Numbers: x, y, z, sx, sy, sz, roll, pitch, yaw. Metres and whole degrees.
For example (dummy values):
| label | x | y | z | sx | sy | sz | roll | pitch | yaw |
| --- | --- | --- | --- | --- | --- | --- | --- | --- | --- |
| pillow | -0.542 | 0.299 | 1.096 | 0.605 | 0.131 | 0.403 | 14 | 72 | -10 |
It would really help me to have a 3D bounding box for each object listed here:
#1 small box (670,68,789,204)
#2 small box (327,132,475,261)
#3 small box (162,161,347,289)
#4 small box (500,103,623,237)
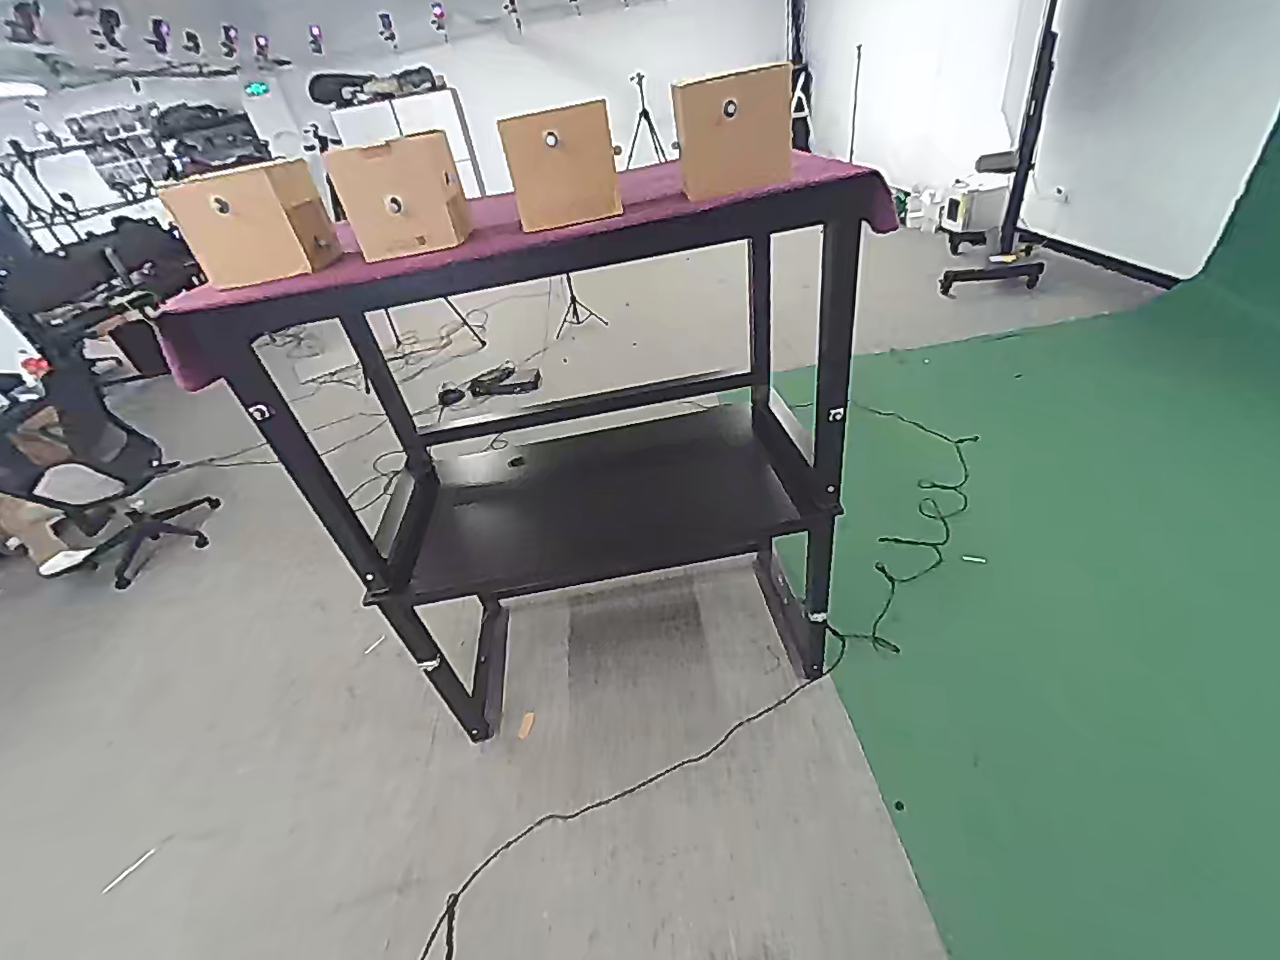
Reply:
| label | x | y | z | sx | sy | sz | roll | pitch | yaw |
| --- | --- | --- | --- | --- | --- | --- | --- | --- | --- |
| small box | 0.155 | -0.596 | 0.943 | 0.179 | 0.176 | 0.168 | -9 | 37 | 4 |
| small box | -0.406 | -0.497 | 0.955 | 0.168 | 0.176 | 0.179 | -10 | 35 | 0 |
| small box | -0.663 | -0.450 | 0.956 | 0.179 | 0.176 | 0.168 | -10 | 36 | -1 |
| small box | -0.128 | -0.547 | 0.953 | 0.179 | 0.176 | 0.168 | -11 | 35 | 2 |
